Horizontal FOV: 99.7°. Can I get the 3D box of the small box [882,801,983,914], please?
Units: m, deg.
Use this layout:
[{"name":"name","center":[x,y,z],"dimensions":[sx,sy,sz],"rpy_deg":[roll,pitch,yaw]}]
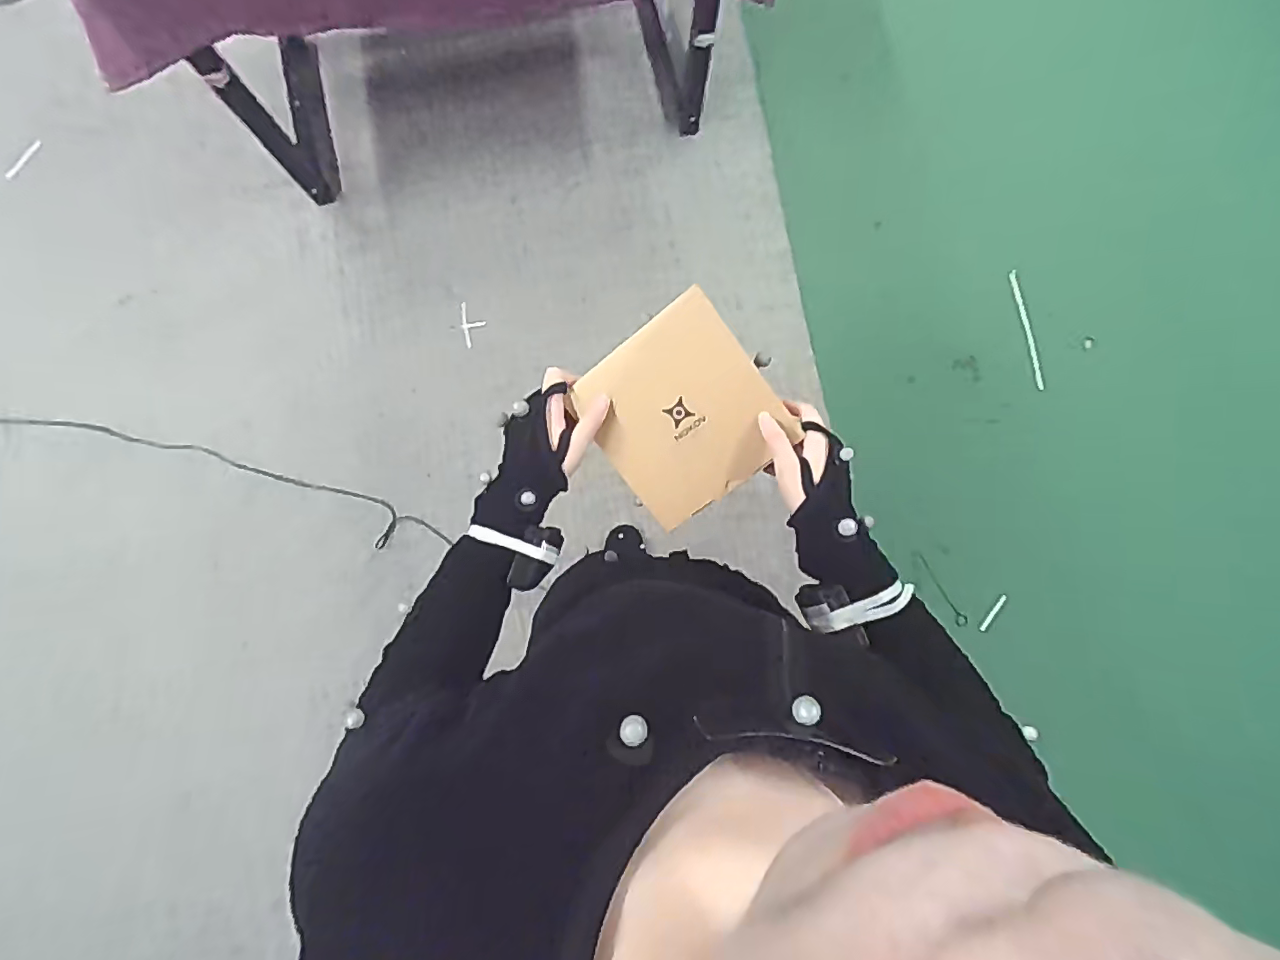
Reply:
[{"name":"small box","center":[0.705,0.904,1.309],"dimensions":[0.168,0.176,0.179],"rpy_deg":[0,83,0]}]
